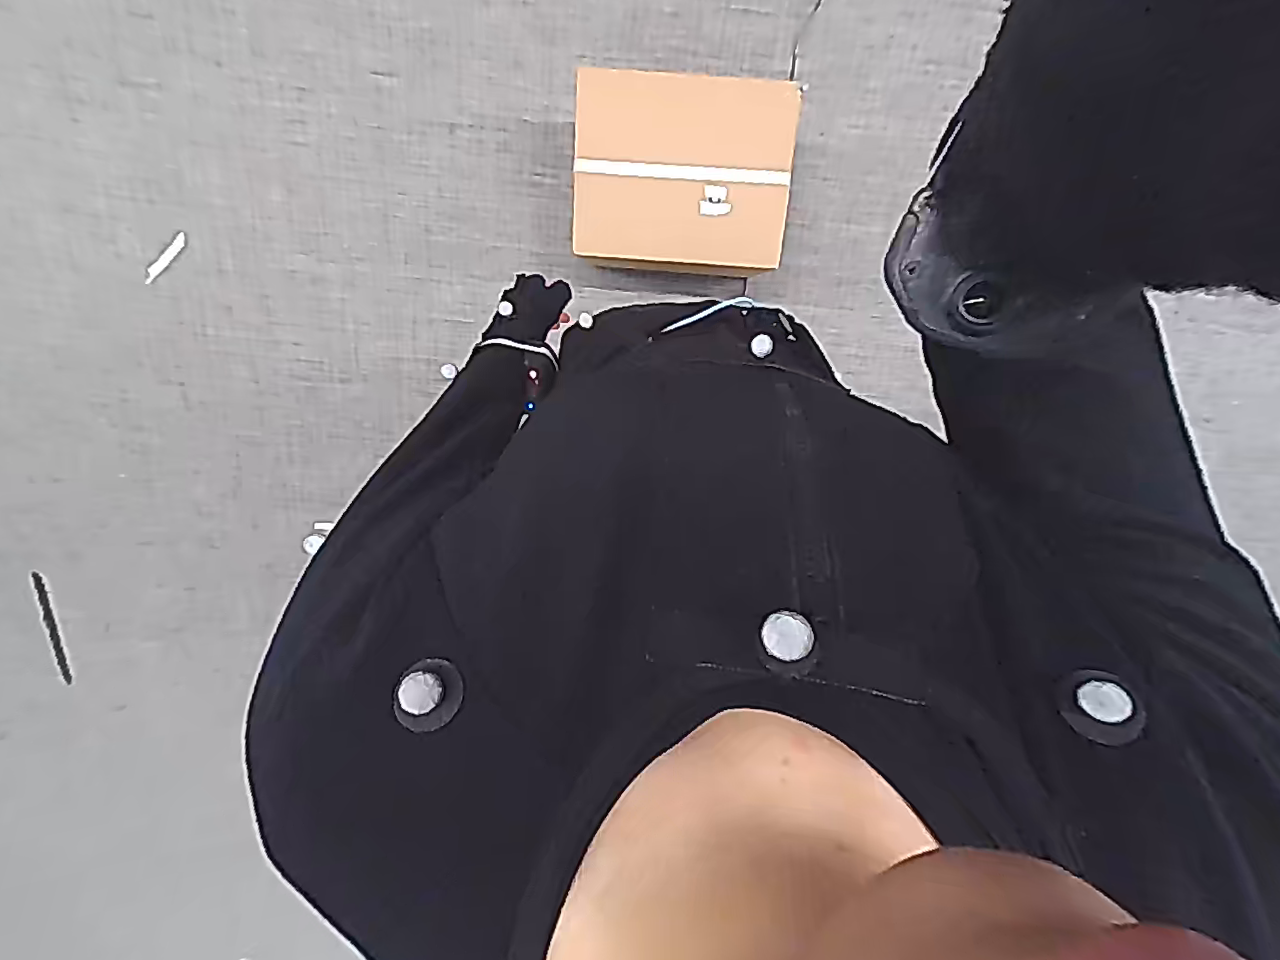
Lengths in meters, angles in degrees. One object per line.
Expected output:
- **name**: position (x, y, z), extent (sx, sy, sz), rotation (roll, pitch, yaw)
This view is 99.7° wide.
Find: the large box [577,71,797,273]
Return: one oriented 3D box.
- **large box**: position (0.080, -0.628, 1.165), extent (0.408, 0.320, 0.320), rotation (4, 109, -1)
